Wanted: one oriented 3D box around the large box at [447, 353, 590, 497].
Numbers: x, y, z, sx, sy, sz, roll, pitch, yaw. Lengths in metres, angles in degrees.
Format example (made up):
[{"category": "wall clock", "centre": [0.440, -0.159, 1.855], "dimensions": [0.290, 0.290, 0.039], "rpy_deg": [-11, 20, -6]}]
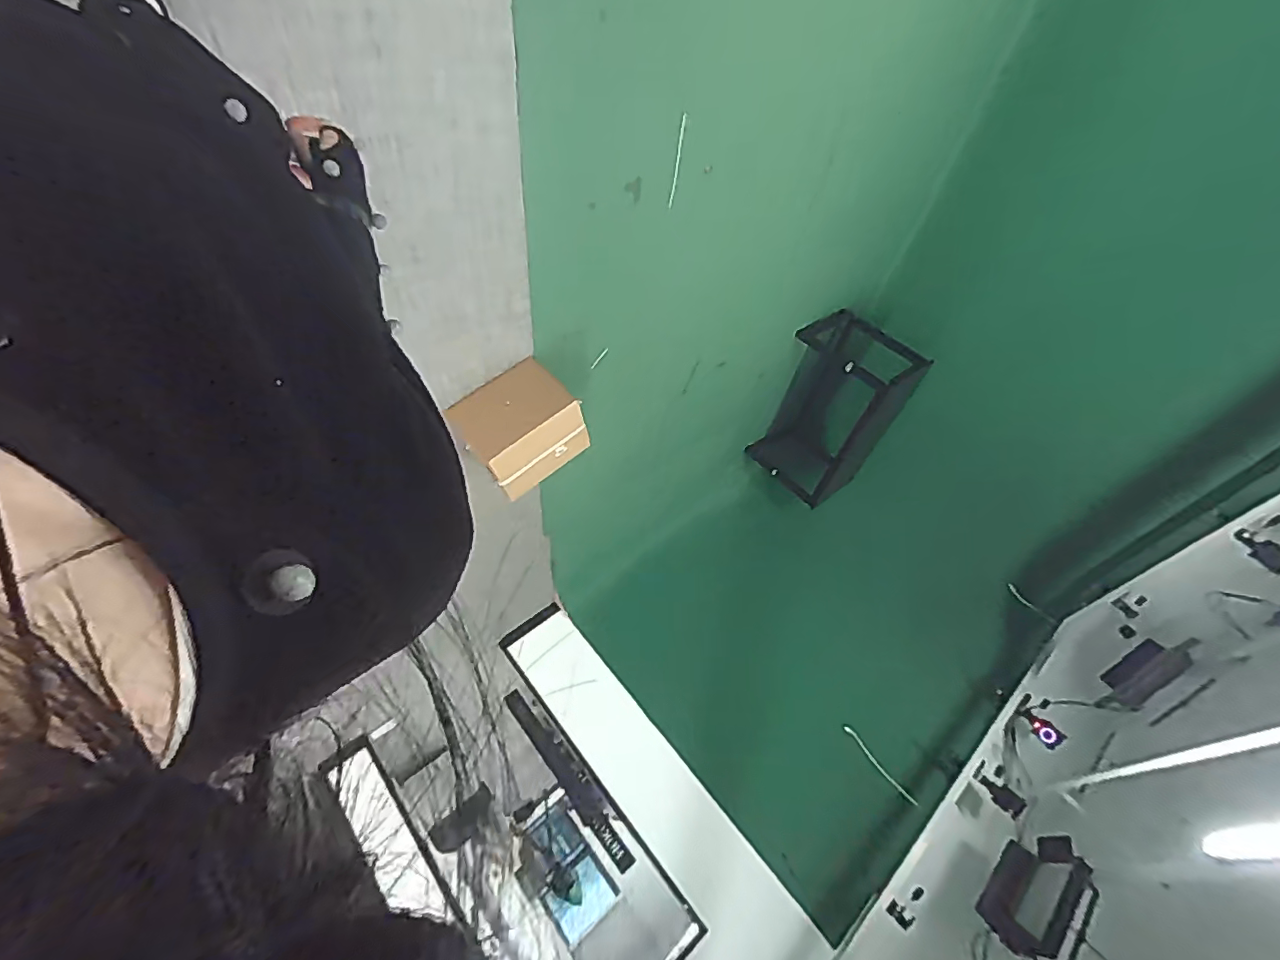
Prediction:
[{"category": "large box", "centre": [-0.466, -0.215, 2.123], "dimensions": [0.408, 0.320, 0.320], "rpy_deg": [-39, 155, -16]}]
